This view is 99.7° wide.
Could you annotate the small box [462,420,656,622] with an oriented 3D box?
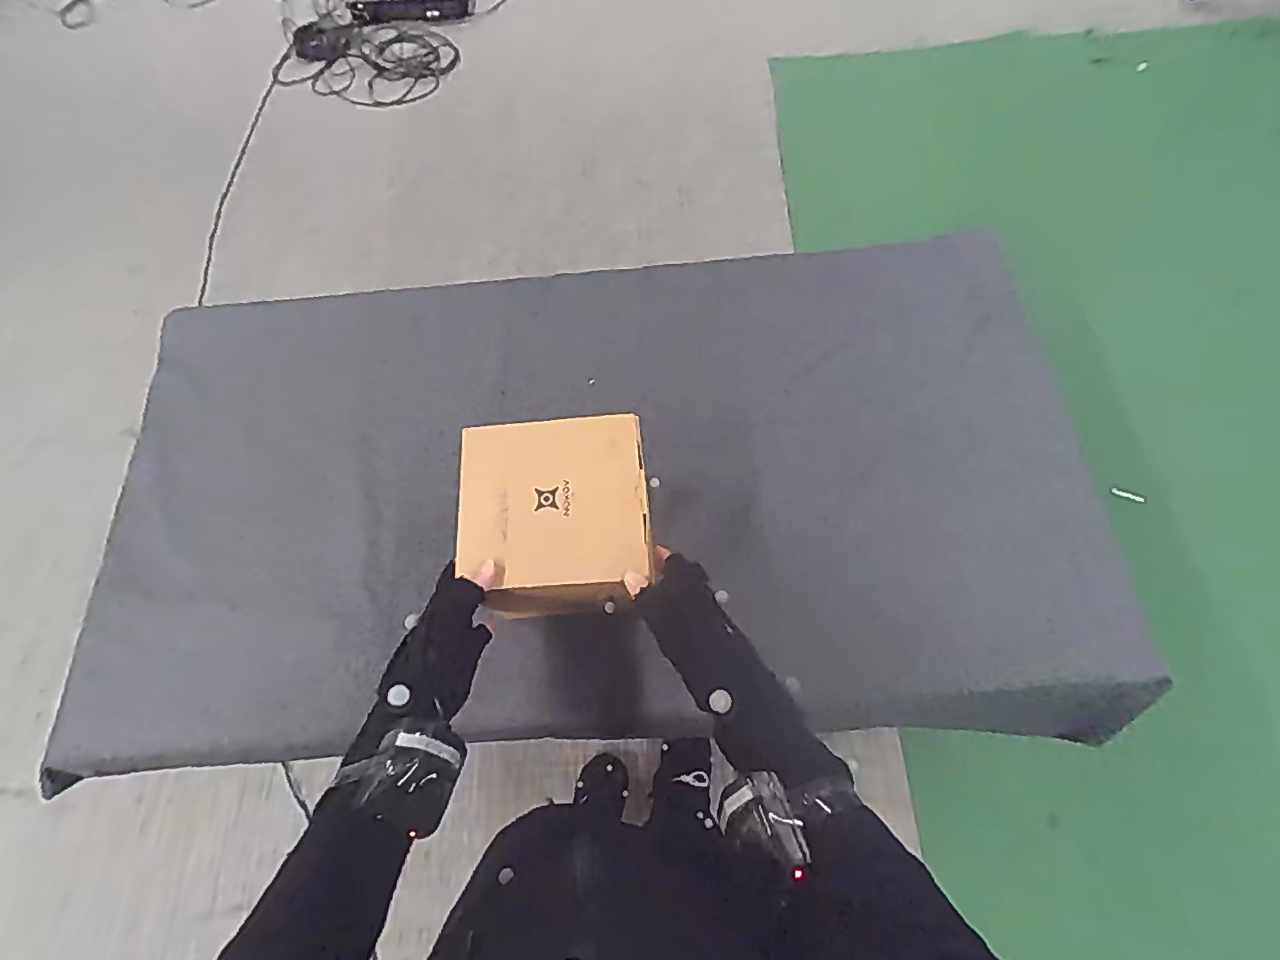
[{"bbox_3d":[-0.076,0.053,0.585,0.179,0.176,0.168,-7,67,2],"label":"small box"}]
